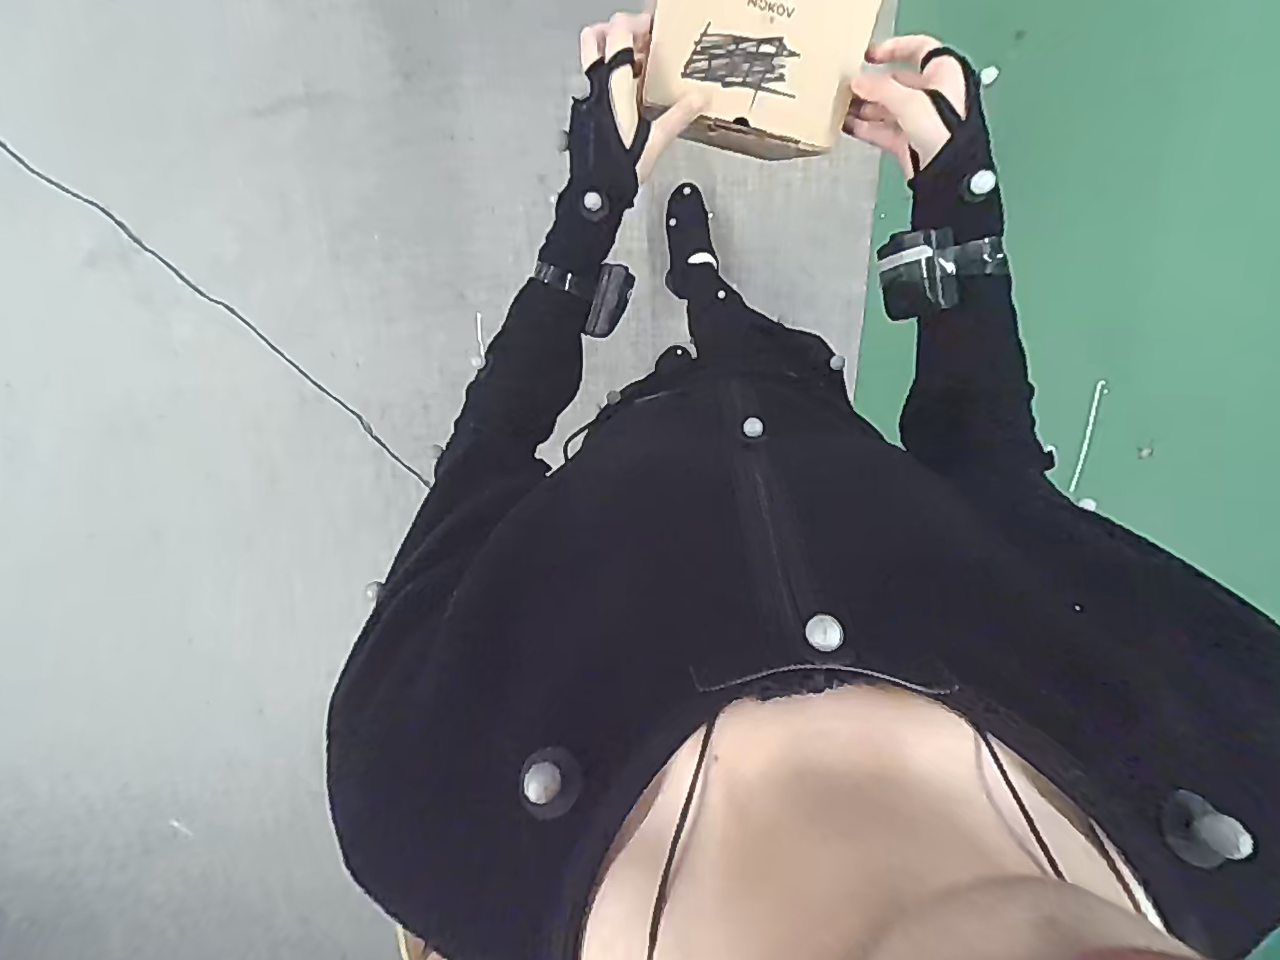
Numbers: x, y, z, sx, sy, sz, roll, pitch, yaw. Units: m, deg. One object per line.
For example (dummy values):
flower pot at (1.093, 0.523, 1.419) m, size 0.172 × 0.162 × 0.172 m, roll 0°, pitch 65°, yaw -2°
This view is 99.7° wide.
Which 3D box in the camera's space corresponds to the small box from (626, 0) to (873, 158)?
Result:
small box at (0.083, -0.390, 0.460) m, size 0.168 × 0.176 × 0.179 m, roll 8°, pitch 117°, yaw -10°
